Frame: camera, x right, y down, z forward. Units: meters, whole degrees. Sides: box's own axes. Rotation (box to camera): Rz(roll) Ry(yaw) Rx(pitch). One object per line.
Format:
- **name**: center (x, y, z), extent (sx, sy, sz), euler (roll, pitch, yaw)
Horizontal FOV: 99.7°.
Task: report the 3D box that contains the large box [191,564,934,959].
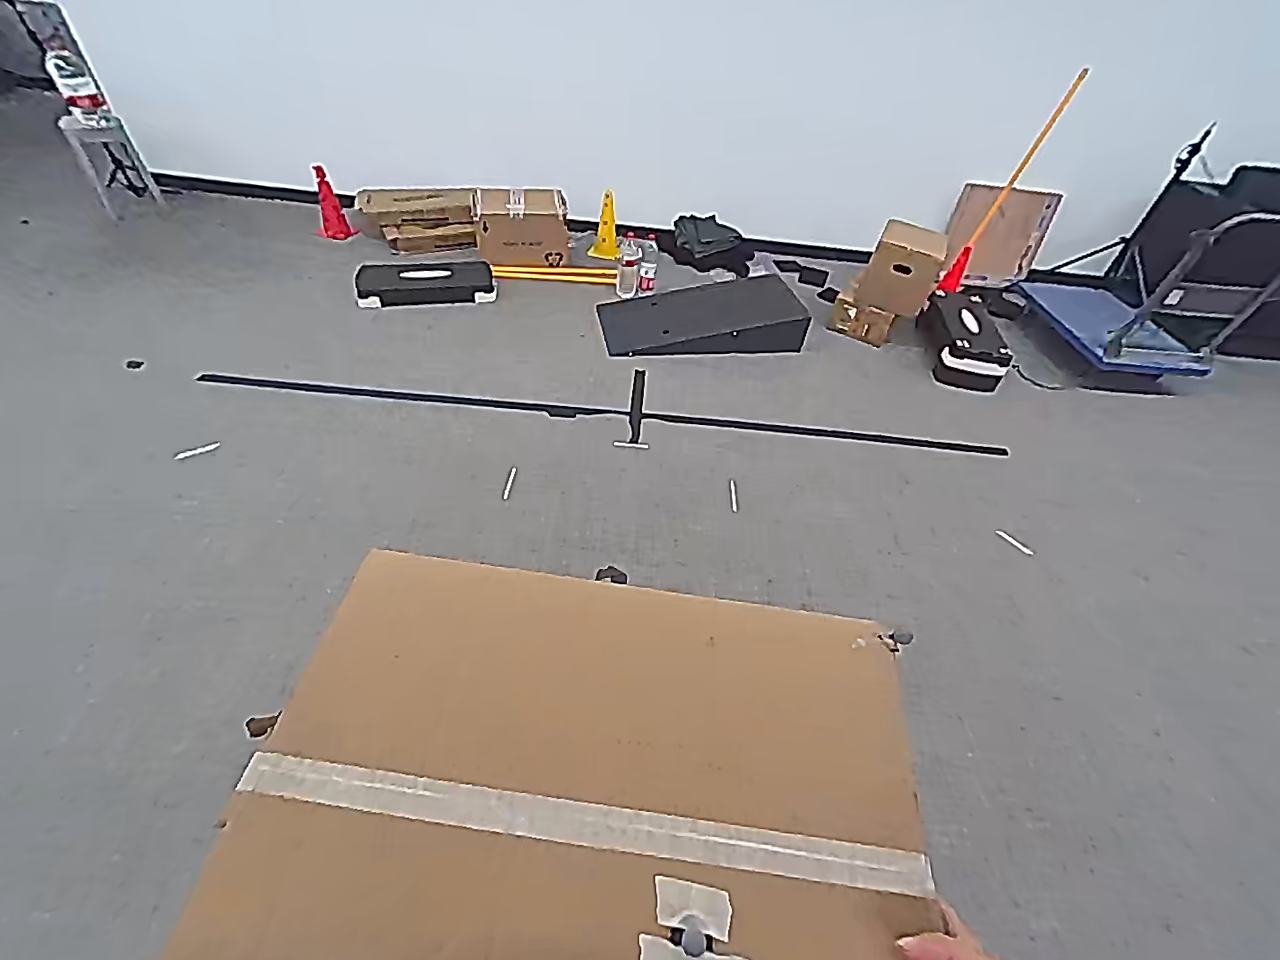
- **large box**: center (-0.038, 0.299, 0.447), extent (0.408, 0.320, 0.320), euler (8, 53, 1)
